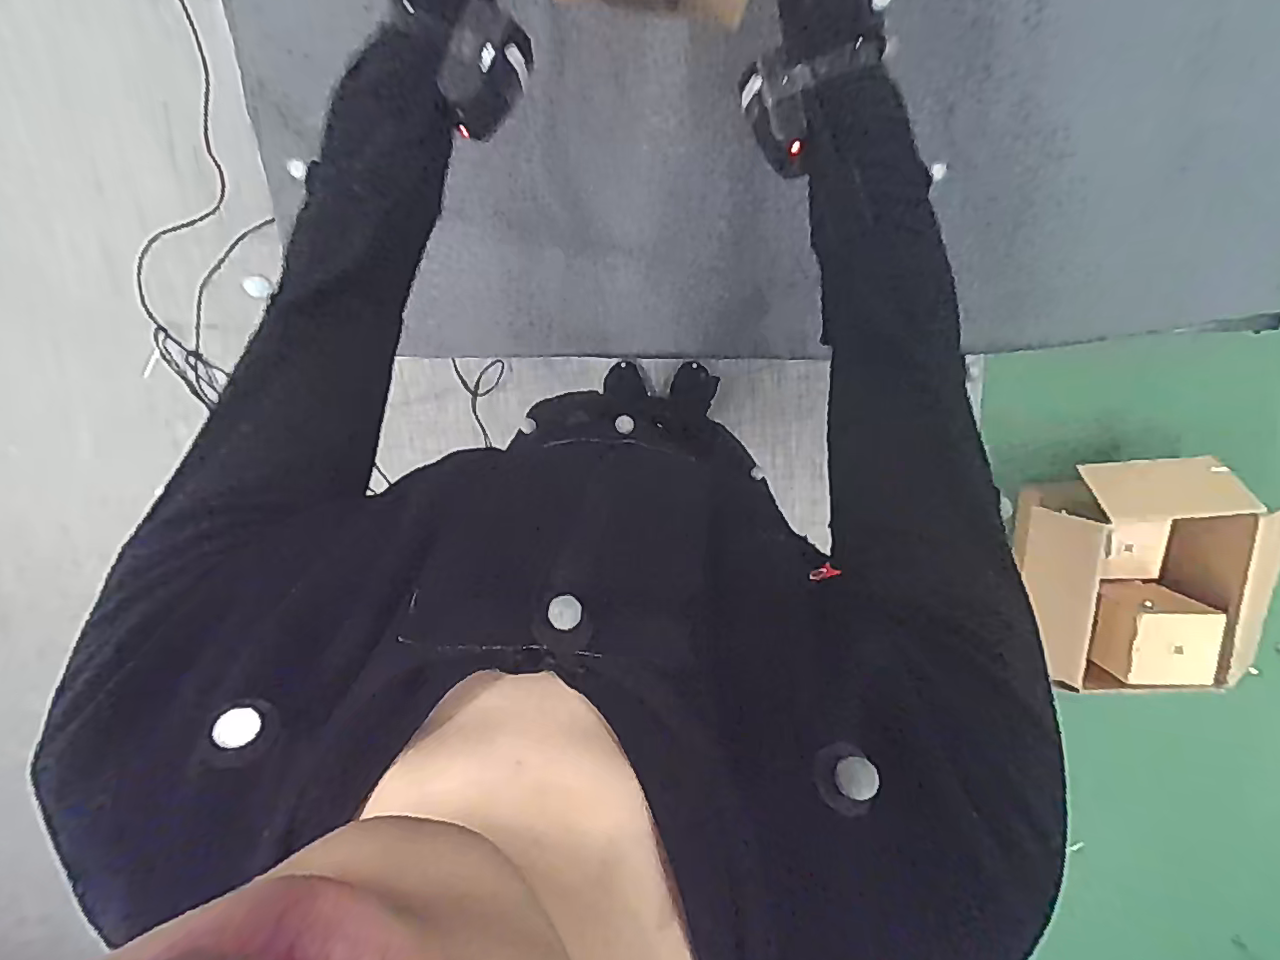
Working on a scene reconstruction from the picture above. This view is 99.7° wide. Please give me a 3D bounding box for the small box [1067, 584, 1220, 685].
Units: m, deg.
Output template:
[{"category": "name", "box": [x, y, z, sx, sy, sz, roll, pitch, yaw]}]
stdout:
[{"category": "small box", "box": [1.126, 0.343, 1.224, 0.179, 0.176, 0.168, 0, 102, 3]}]
